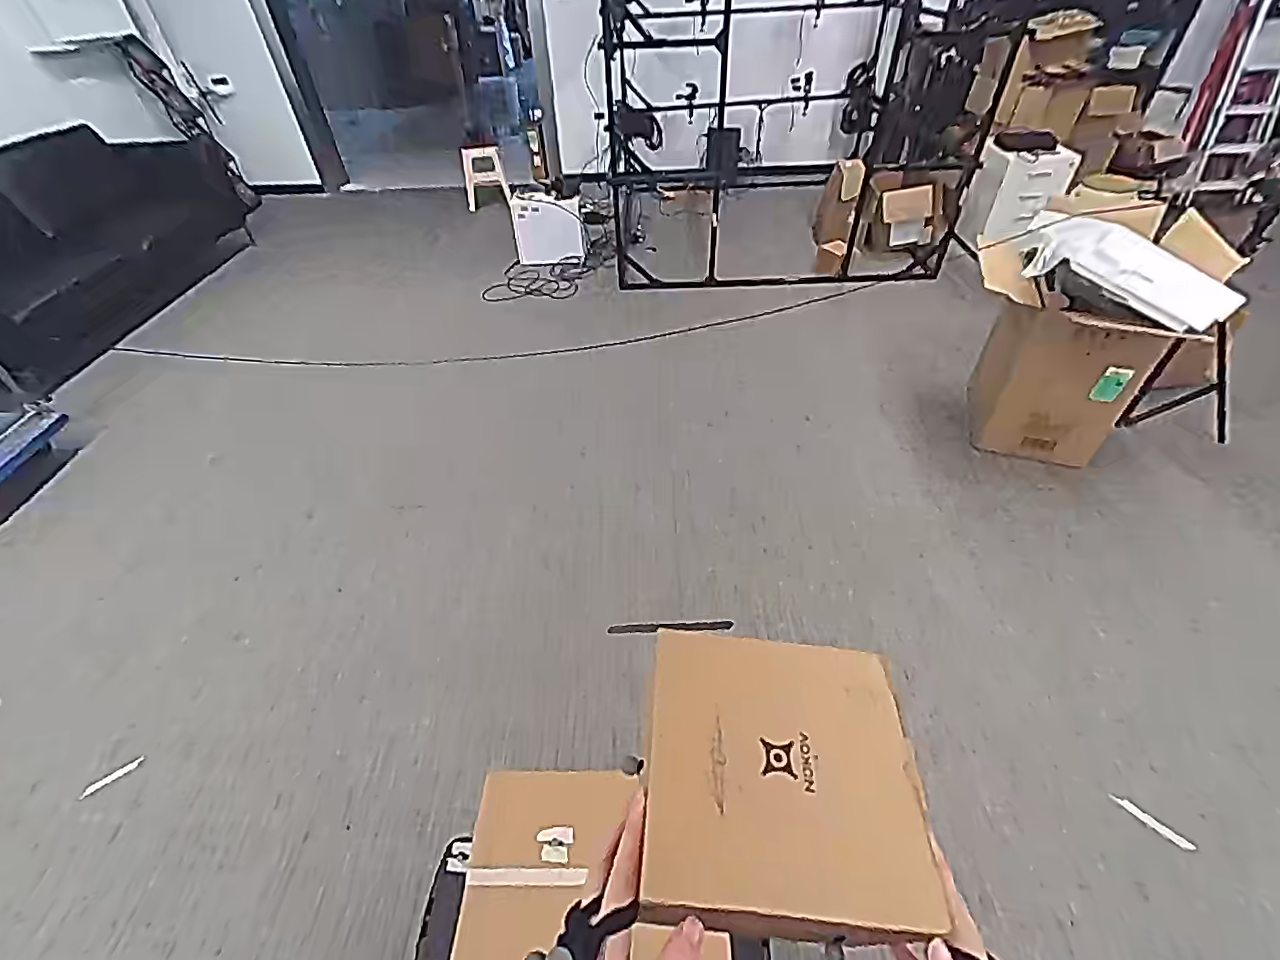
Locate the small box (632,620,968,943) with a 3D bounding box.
[{"bbox_3d":[0.092,0.226,0.400,0.179,0.176,0.168,6,47,1],"label":"small box"}]

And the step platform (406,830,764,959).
[{"bbox_3d":[-0.100,0.912,1.080,0.684,0.204,0.286,2,44,7],"label":"step platform"}]

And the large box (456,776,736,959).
[{"bbox_3d":[-0.056,0.726,0.927,0.408,0.320,0.320,-2,43,3],"label":"large box"}]
